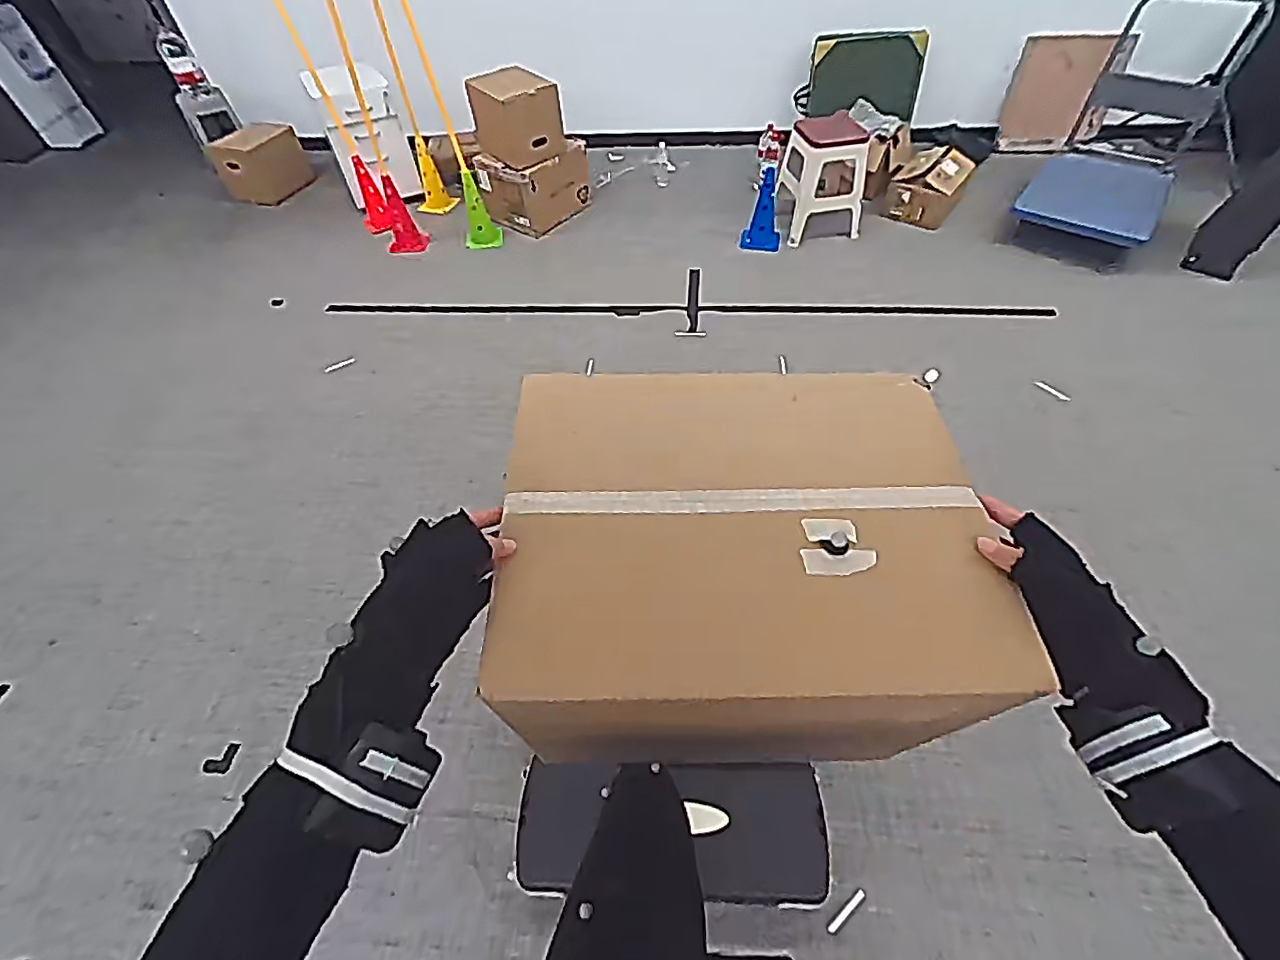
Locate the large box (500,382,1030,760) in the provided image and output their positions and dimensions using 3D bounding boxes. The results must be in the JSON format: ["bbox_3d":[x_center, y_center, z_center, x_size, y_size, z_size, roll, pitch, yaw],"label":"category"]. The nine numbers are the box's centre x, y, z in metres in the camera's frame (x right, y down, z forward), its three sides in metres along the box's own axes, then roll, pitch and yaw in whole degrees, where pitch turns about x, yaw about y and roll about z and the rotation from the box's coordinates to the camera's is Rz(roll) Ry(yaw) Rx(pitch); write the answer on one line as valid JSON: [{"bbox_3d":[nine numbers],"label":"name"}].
[{"bbox_3d":[0.085,0.110,0.600,0.408,0.320,0.320,-1,55,-2],"label":"large box"}]
